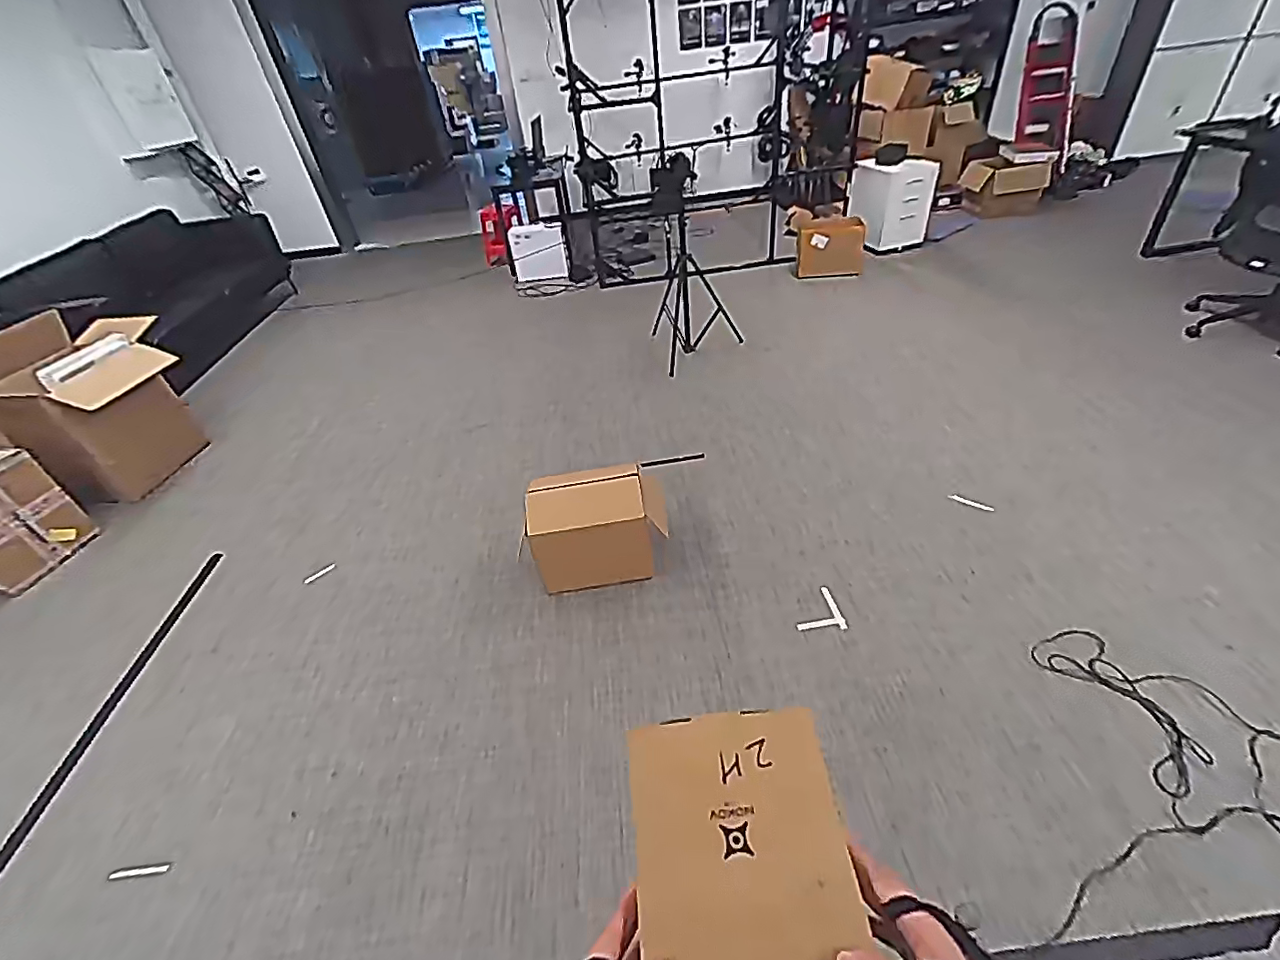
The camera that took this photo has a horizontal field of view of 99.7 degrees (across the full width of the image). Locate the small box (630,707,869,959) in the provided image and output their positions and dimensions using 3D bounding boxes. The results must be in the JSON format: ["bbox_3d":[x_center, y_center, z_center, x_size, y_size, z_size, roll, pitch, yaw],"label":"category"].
[{"bbox_3d":[0.085,0.332,0.496,0.168,0.176,0.179,-7,47,1],"label":"small box"}]
